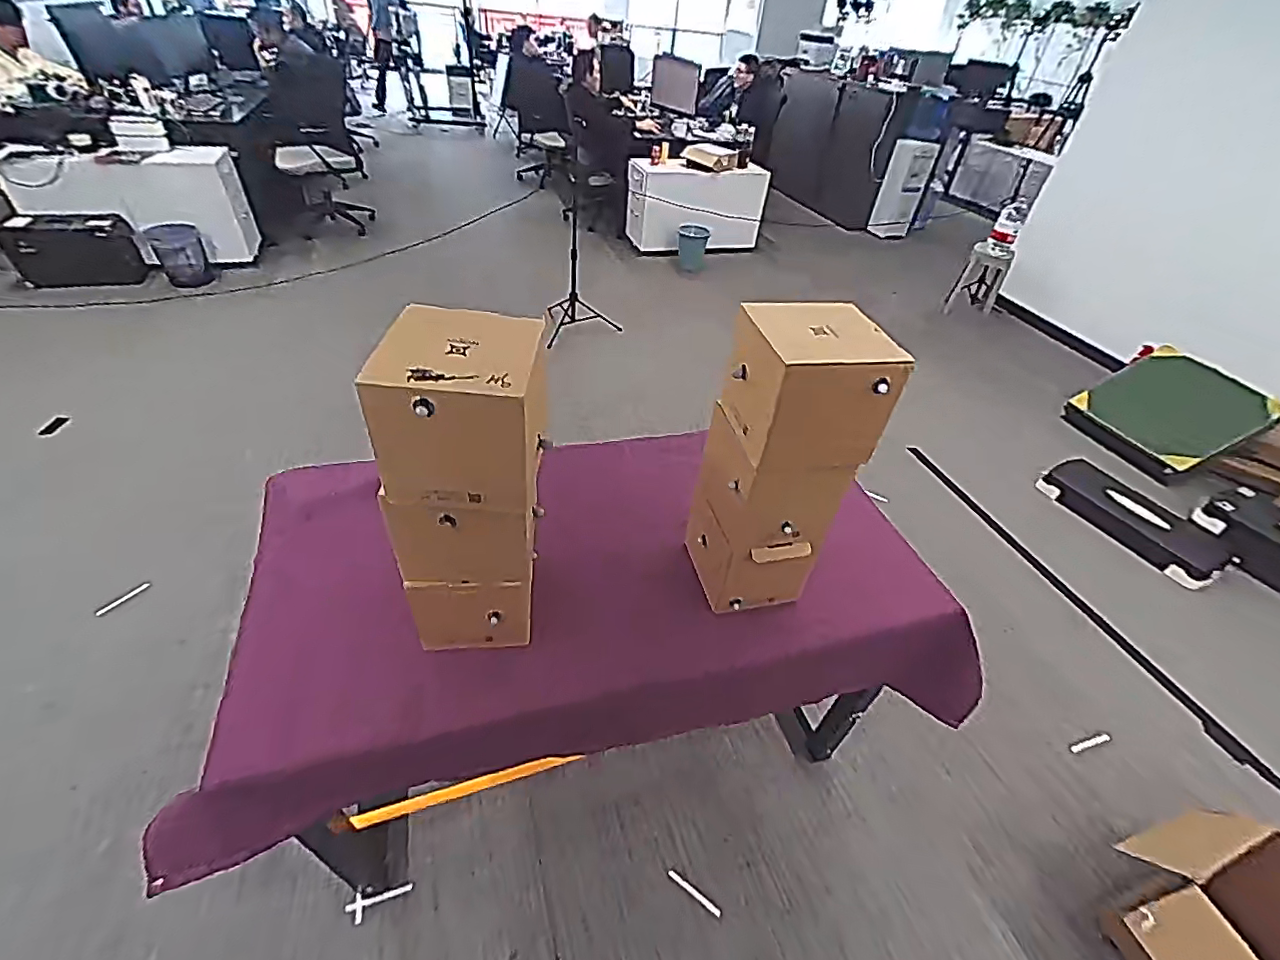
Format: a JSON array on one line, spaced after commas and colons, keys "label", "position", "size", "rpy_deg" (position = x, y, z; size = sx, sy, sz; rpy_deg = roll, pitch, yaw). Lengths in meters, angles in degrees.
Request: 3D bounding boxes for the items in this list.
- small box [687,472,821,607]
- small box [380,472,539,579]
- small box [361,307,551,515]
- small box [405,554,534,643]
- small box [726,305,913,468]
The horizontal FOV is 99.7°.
[{"label": "small box", "position": [0.193, 0.111, 0.970], "size": [0.168, 0.176, 0.179], "rpy_deg": [-6, 42, -14]}, {"label": "small box", "position": [-0.238, 0.026, 0.763], "size": [0.179, 0.176, 0.168], "rpy_deg": [2, 43, -8]}, {"label": "small box", "position": [-0.201, -0.083, 0.644], "size": [0.168, 0.176, 0.179], "rpy_deg": [5, 41, -4]}, {"label": "small box", "position": [-0.259, 0.149, 0.869], "size": [0.168, 0.176, 0.179], "rpy_deg": [1, 42, -8]}, {"label": "small box", "position": [0.229, -0.129, 0.752], "size": [0.179, 0.176, 0.168], "rpy_deg": [-3, 43, -12]}]
